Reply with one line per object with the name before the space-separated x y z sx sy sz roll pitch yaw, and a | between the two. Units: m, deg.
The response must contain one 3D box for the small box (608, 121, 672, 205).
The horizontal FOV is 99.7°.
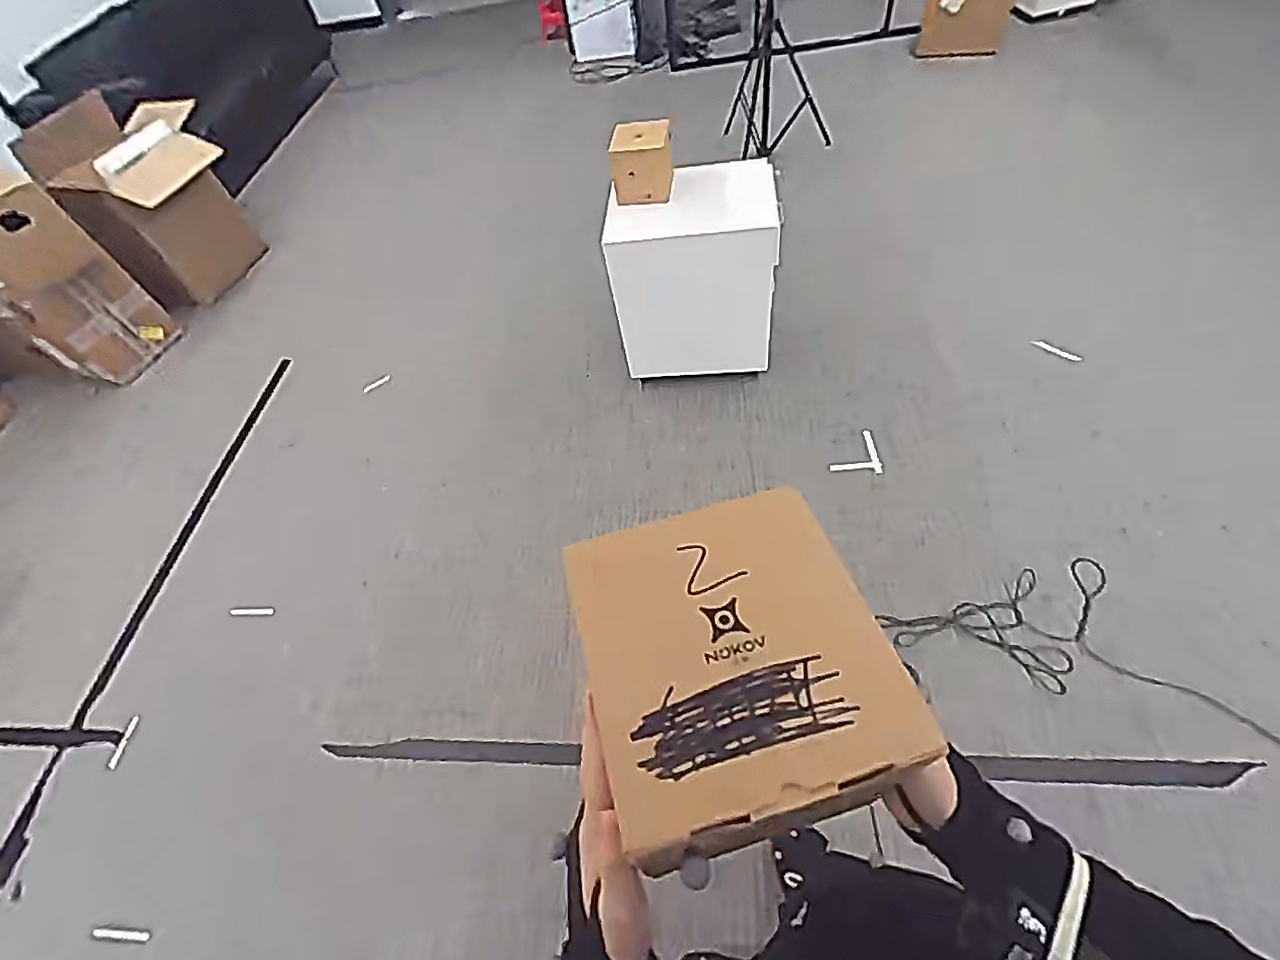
small box | 0.007 -0.970 1.668 0.168 0.176 0.179 1 56 11
